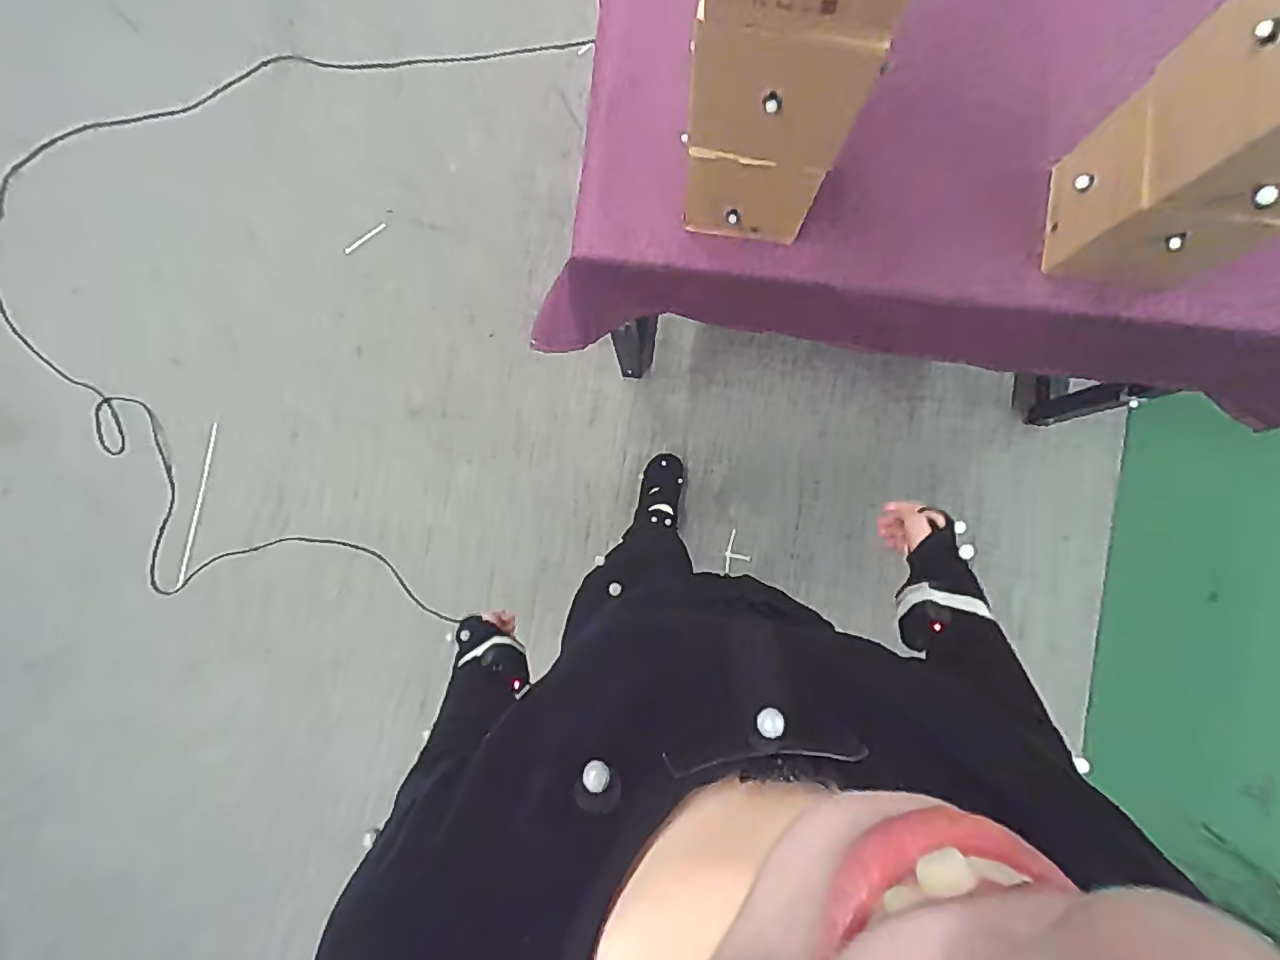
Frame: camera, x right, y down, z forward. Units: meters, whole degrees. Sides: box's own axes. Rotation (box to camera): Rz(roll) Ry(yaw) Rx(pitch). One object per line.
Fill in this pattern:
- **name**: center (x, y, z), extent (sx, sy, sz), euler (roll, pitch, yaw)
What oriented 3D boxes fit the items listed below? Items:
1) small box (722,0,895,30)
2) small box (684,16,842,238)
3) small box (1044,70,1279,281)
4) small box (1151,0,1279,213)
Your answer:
- **small box**: center (0.143, -0.488, 0.399), extent (0.168, 0.176, 0.179), euler (10, 86, 3)
- **small box**: center (0.152, -0.458, 0.725), extent (0.168, 0.176, 0.179), euler (9, 87, 3)
- **small box**: center (0.666, -0.376, 0.695), extent (0.179, 0.176, 0.168), euler (9, 86, 3)
- **small box**: center (0.660, -0.397, 0.532), extent (0.168, 0.176, 0.179), euler (6, 86, 3)
